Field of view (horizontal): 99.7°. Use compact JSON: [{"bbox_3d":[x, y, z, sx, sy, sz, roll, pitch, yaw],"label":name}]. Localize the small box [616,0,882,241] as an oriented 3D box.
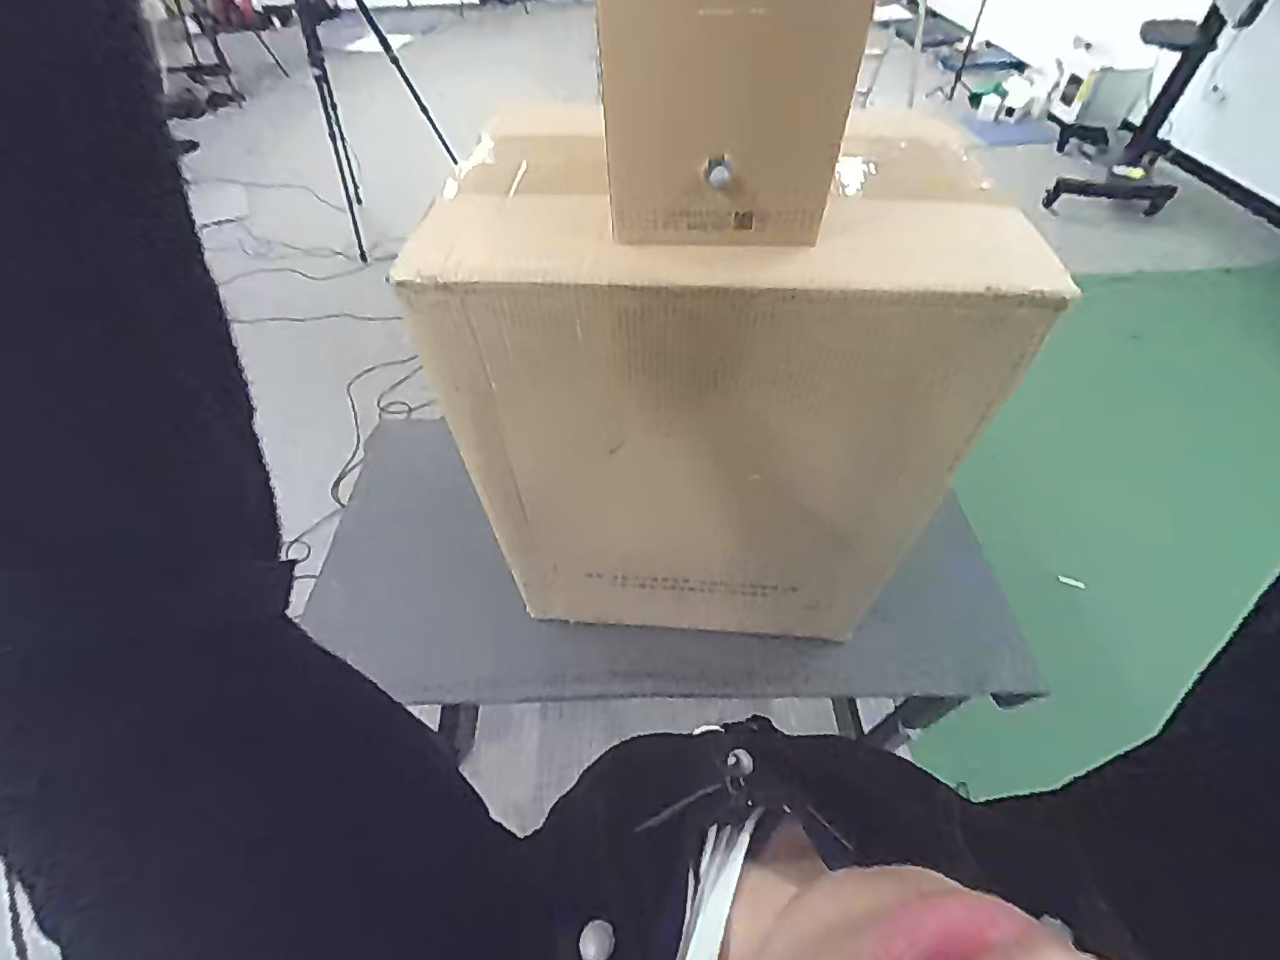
[{"bbox_3d":[0.070,-0.316,0.431,0.168,0.176,0.179,2,53,3],"label":"small box"}]
